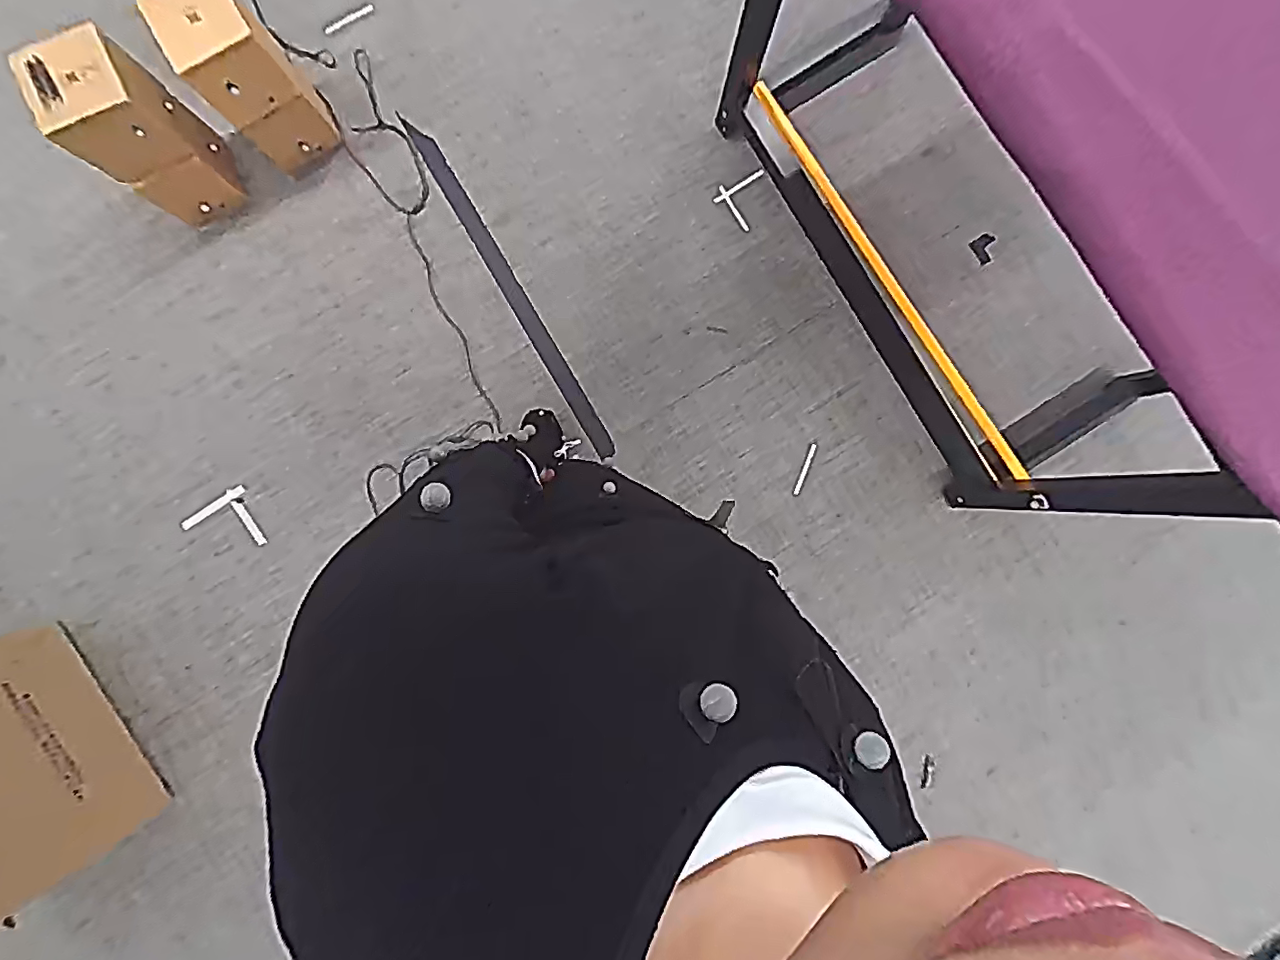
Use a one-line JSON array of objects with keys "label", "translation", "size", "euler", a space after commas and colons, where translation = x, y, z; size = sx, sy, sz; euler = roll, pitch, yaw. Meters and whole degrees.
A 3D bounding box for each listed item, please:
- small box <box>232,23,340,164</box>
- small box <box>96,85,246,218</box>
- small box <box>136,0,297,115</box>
[{"label": "small box", "translation": [-0.852, -0.892, 1.265], "size": [0.168, 0.176, 0.179], "euler": [-30, 91, 0]}, {"label": "small box", "translation": [-1.077, -0.752, 1.256], "size": [0.168, 0.176, 0.179], "euler": [-24, 91, -2]}, {"label": "small box", "translation": [-0.851, -0.892, 1.102], "size": [0.168, 0.176, 0.179], "euler": [-30, 89, -1]}]
